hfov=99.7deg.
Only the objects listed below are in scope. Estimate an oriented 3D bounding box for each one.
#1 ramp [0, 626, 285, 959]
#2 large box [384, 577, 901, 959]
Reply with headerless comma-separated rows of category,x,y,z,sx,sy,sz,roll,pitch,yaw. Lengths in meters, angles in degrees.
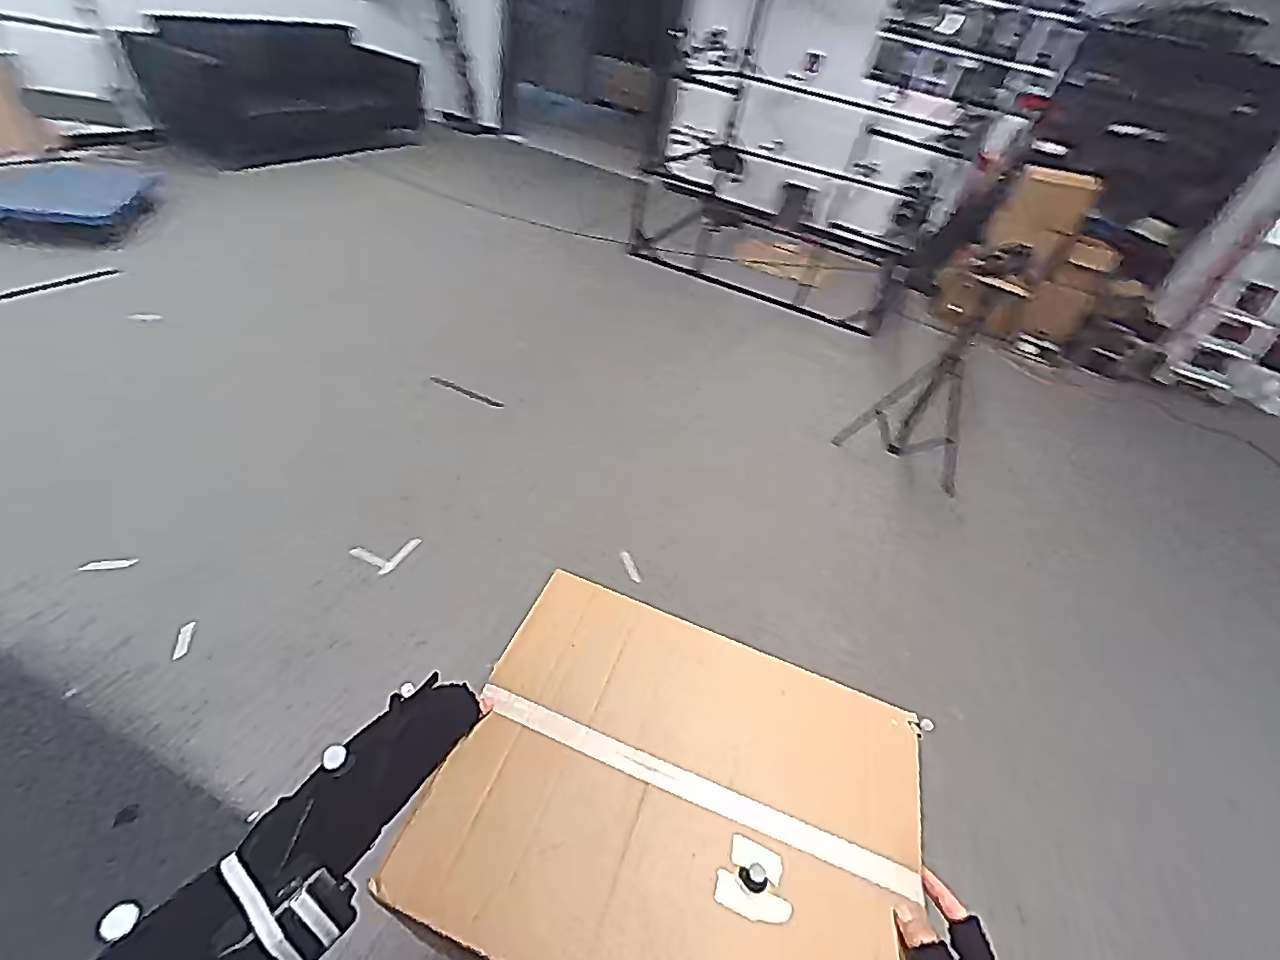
ramp,-1.302,0.667,1.074,0.991,0.206,0.509,23,40,10
large box,0.011,0.373,0.587,0.408,0.320,0.320,21,44,7
